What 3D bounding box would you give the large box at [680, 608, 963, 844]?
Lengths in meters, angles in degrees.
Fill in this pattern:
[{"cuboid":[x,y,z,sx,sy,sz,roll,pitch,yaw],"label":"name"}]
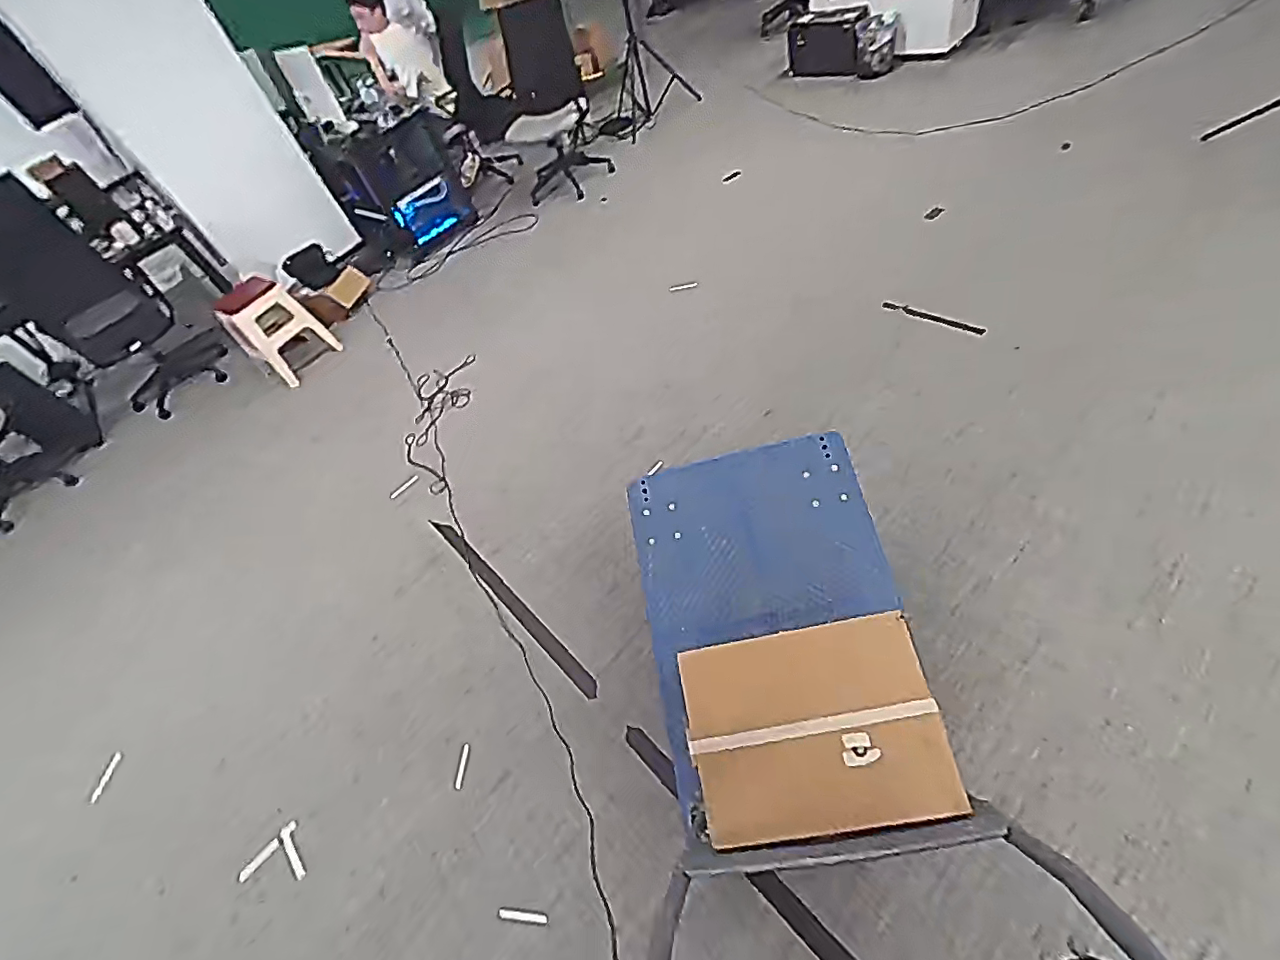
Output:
[{"cuboid":[0.320,0.468,1.062,0.408,0.320,0.320,-14,68,7],"label":"large box"}]
